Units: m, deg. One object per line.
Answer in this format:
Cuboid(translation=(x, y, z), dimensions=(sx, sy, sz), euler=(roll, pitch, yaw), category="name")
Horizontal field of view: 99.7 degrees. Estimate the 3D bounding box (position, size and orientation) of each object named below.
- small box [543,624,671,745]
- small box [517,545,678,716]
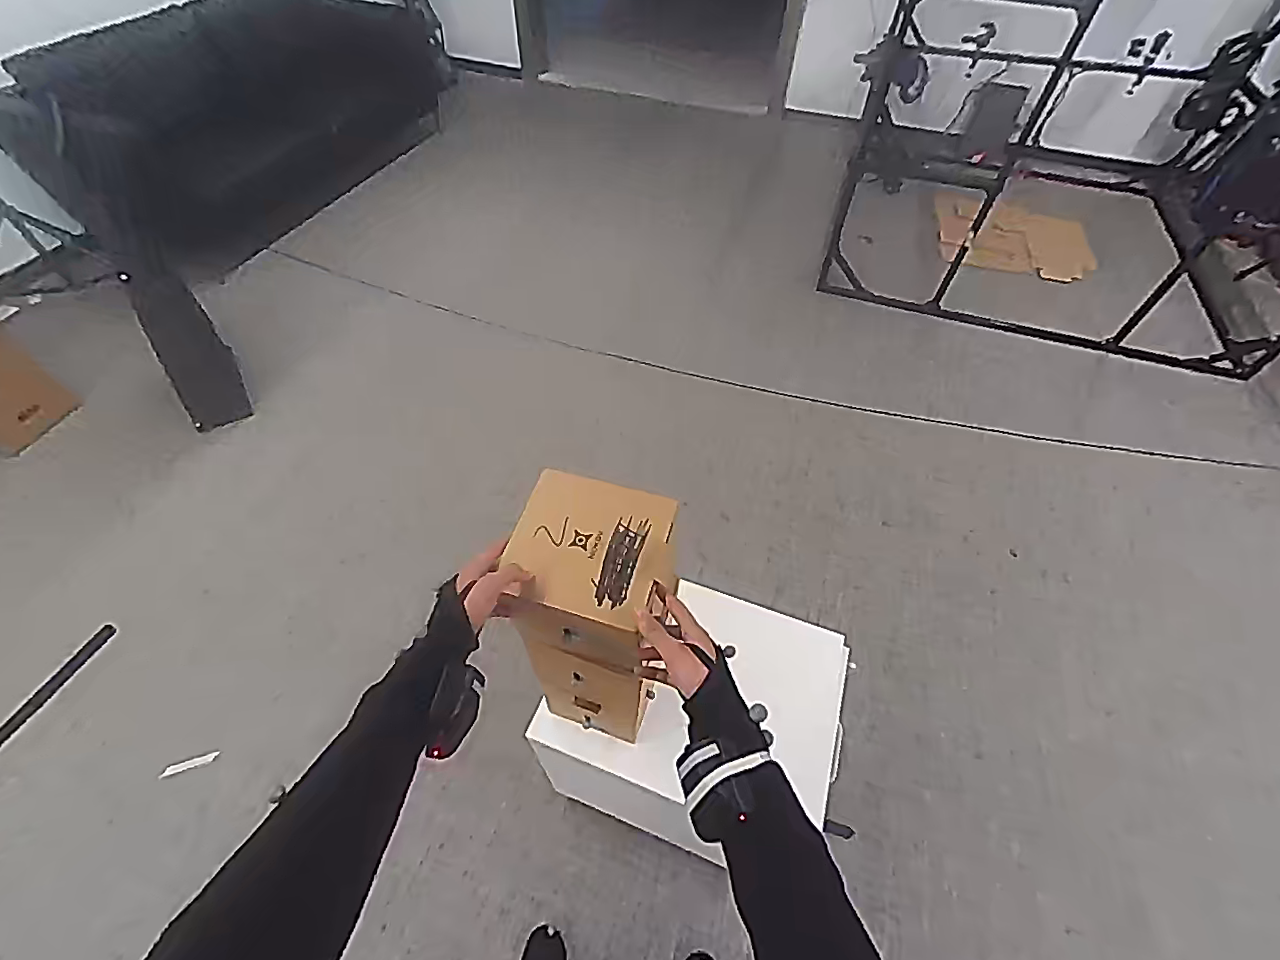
Cuboid(translation=(-0.056, 0.327, 0.935), dimensions=(0.168, 0.176, 0.179), euler=(16, 53, 11), category="small box")
Cuboid(translation=(-0.056, 0.229, 0.802), dimensions=(0.179, 0.176, 0.168), euler=(17, 53, 12), category="small box")
